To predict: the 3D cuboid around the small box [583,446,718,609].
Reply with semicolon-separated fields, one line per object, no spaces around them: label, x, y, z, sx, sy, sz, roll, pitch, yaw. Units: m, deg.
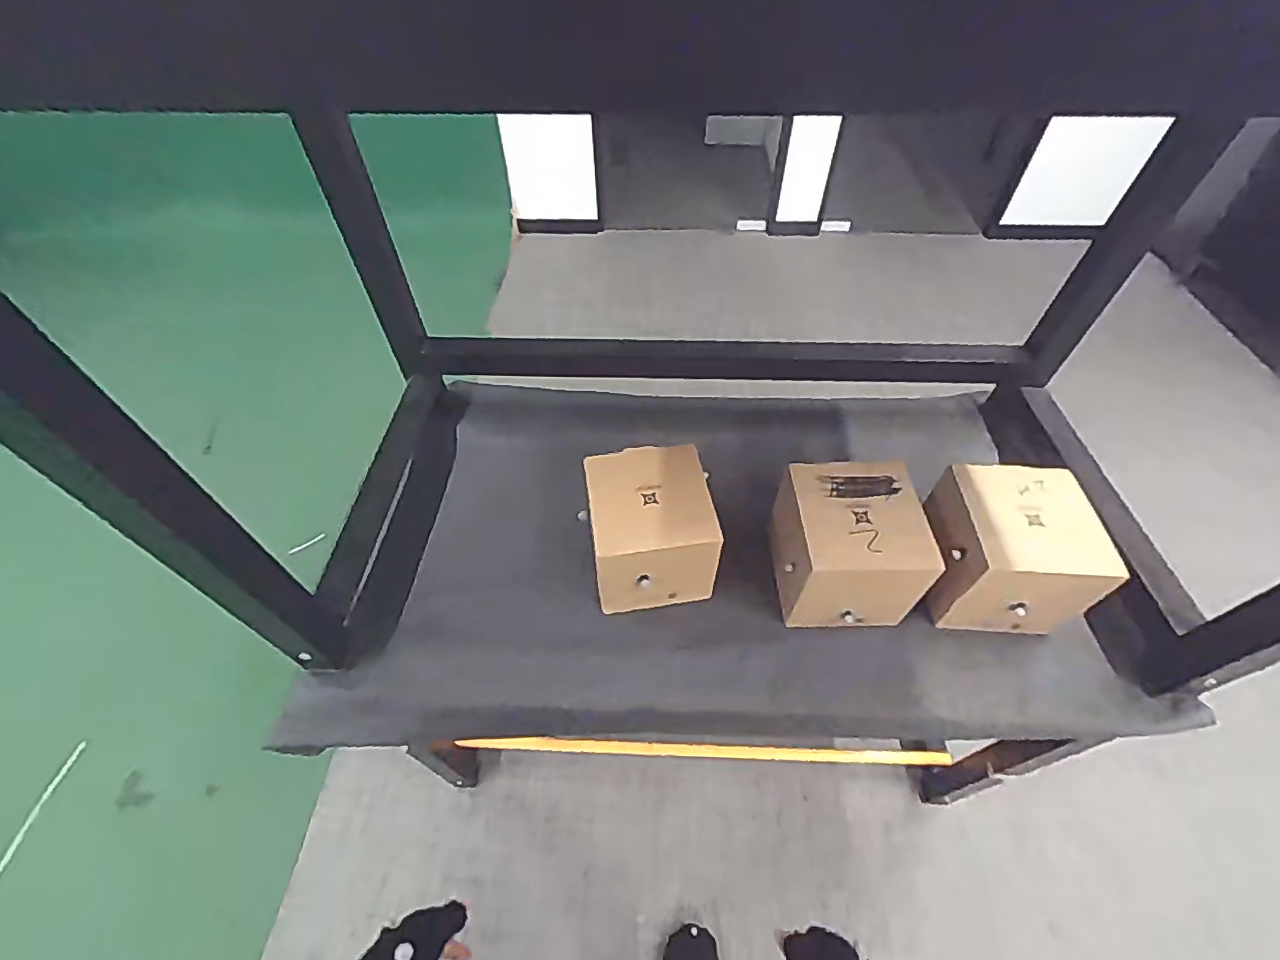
small box;0.011;0.077;0.801;0.168;0.176;0.179;-7;50;-6
